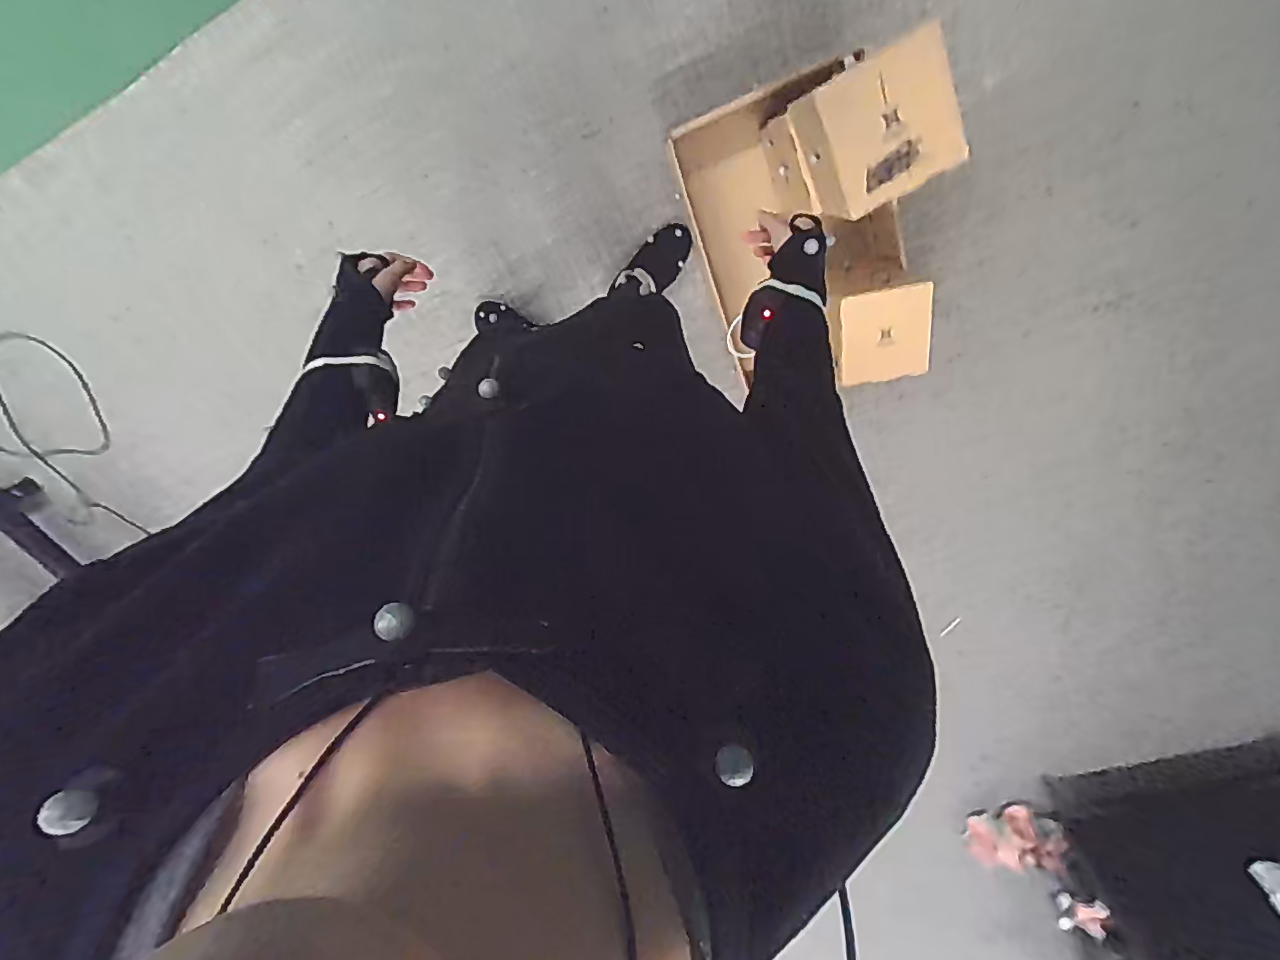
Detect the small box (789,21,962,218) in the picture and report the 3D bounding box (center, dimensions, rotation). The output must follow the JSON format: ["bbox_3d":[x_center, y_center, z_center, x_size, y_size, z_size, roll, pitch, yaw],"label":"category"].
[{"bbox_3d":[0.337,-0.514,0.795,0.168,0.176,0.179,-23,115,14],"label":"small box"}]

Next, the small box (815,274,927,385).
[{"bbox_3d":[0.457,-0.311,1.096,0.168,0.176,0.179,-7,119,7],"label":"small box"}]

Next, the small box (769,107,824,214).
[{"bbox_3d":[0.342,-0.588,0.942,0.179,0.176,0.168,-20,116,14],"label":"small box"}]
